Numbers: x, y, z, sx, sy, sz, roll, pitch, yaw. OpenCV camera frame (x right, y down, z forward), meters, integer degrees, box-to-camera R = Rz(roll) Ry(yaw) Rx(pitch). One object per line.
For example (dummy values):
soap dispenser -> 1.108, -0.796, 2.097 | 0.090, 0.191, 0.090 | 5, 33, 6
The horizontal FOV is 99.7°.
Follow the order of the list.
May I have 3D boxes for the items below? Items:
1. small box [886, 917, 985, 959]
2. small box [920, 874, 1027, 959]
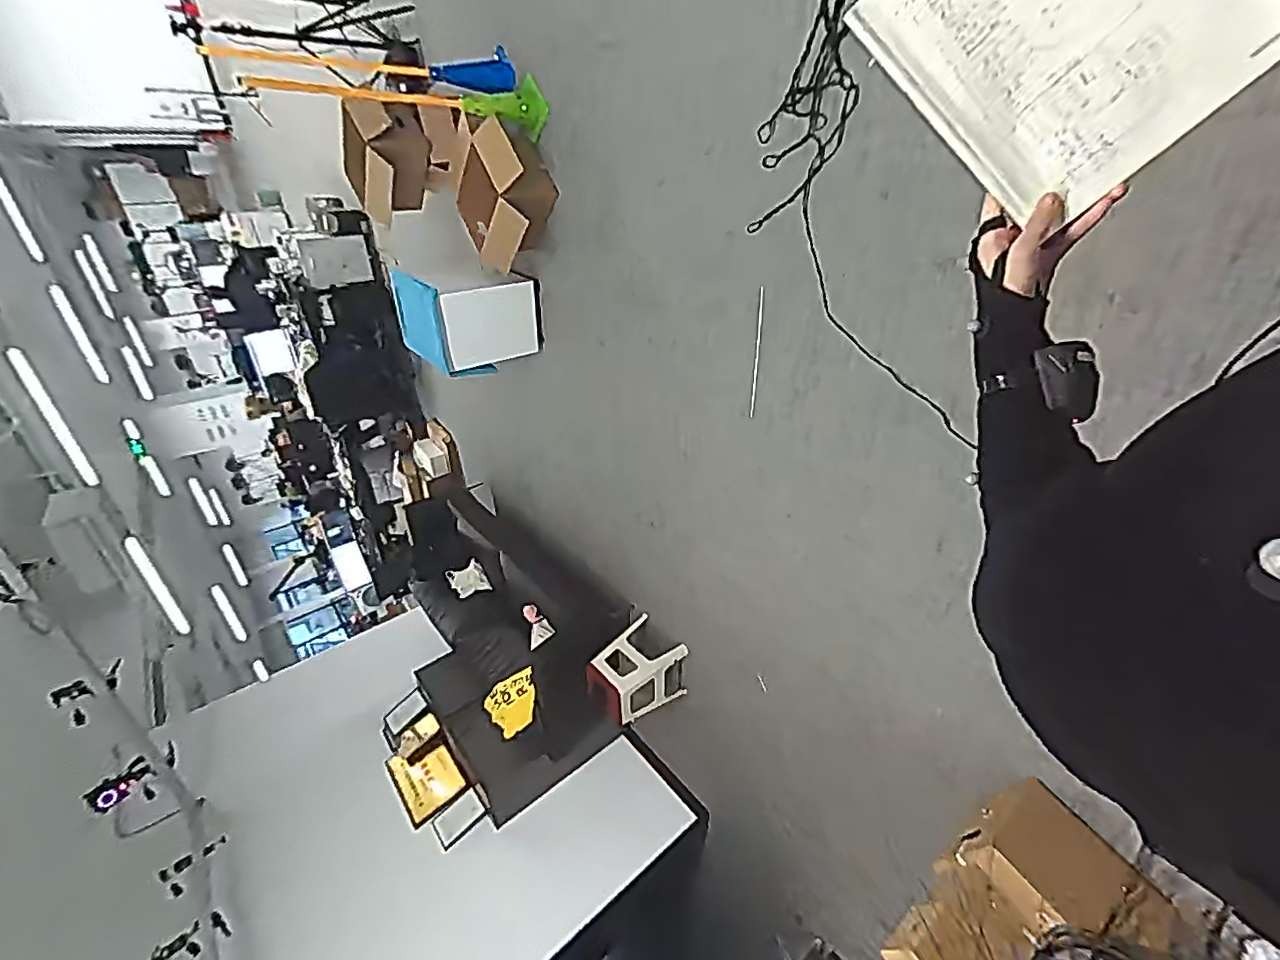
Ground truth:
small box -> 0.796, 1.298, 1.426 | 0.179, 0.176, 0.168 | 47, 144, 27
small box -> 0.928, 1.249, 1.508 | 0.168, 0.176, 0.179 | 47, 143, 28
